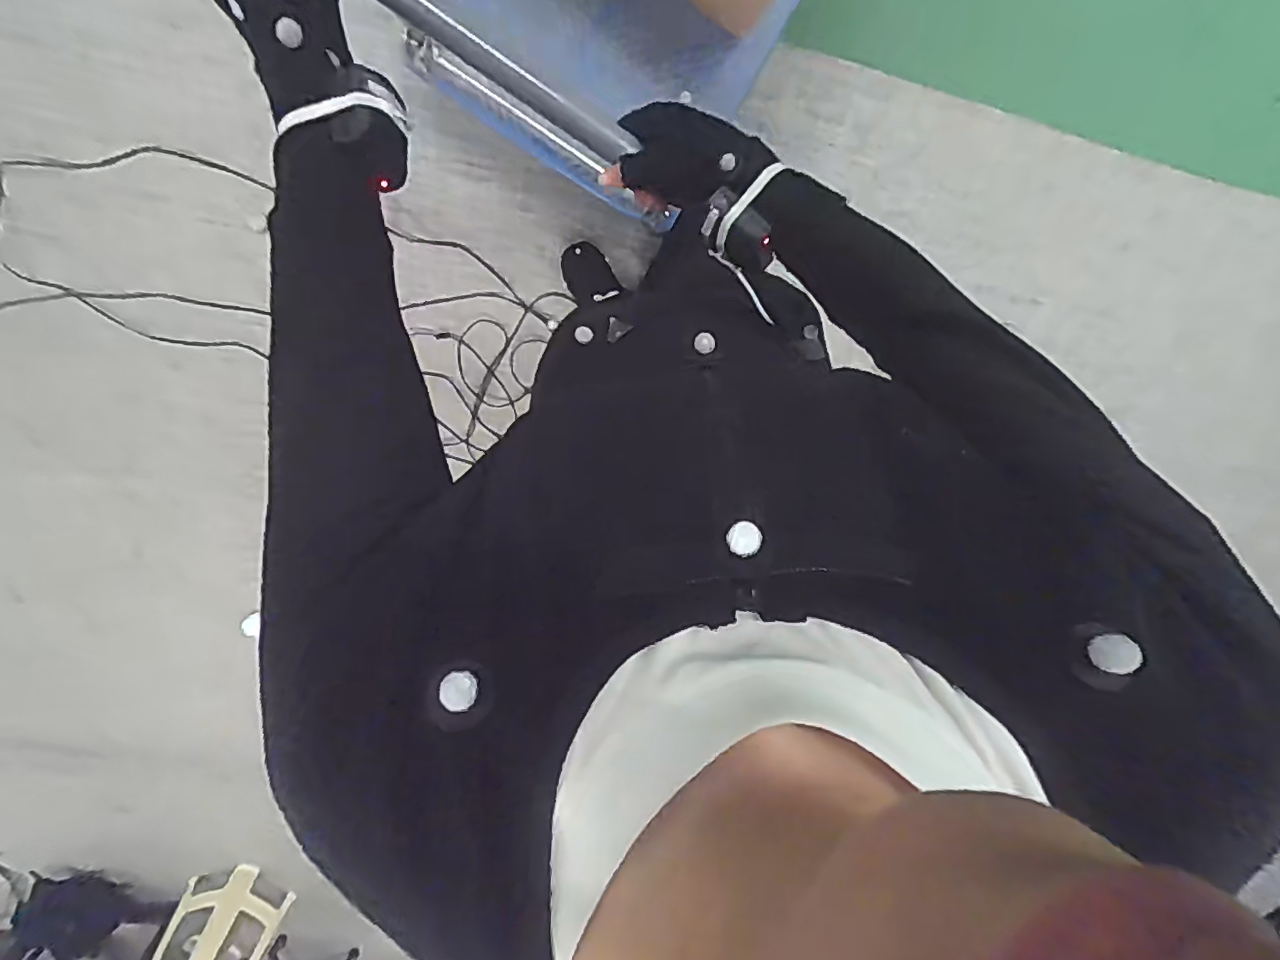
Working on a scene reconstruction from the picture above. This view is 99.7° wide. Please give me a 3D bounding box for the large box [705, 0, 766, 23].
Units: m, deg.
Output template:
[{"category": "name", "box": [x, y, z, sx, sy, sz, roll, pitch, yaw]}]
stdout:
[{"category": "large box", "box": [0.086, -0.938, 0.735, 0.408, 0.320, 0.320, 25, 115, -14]}]
